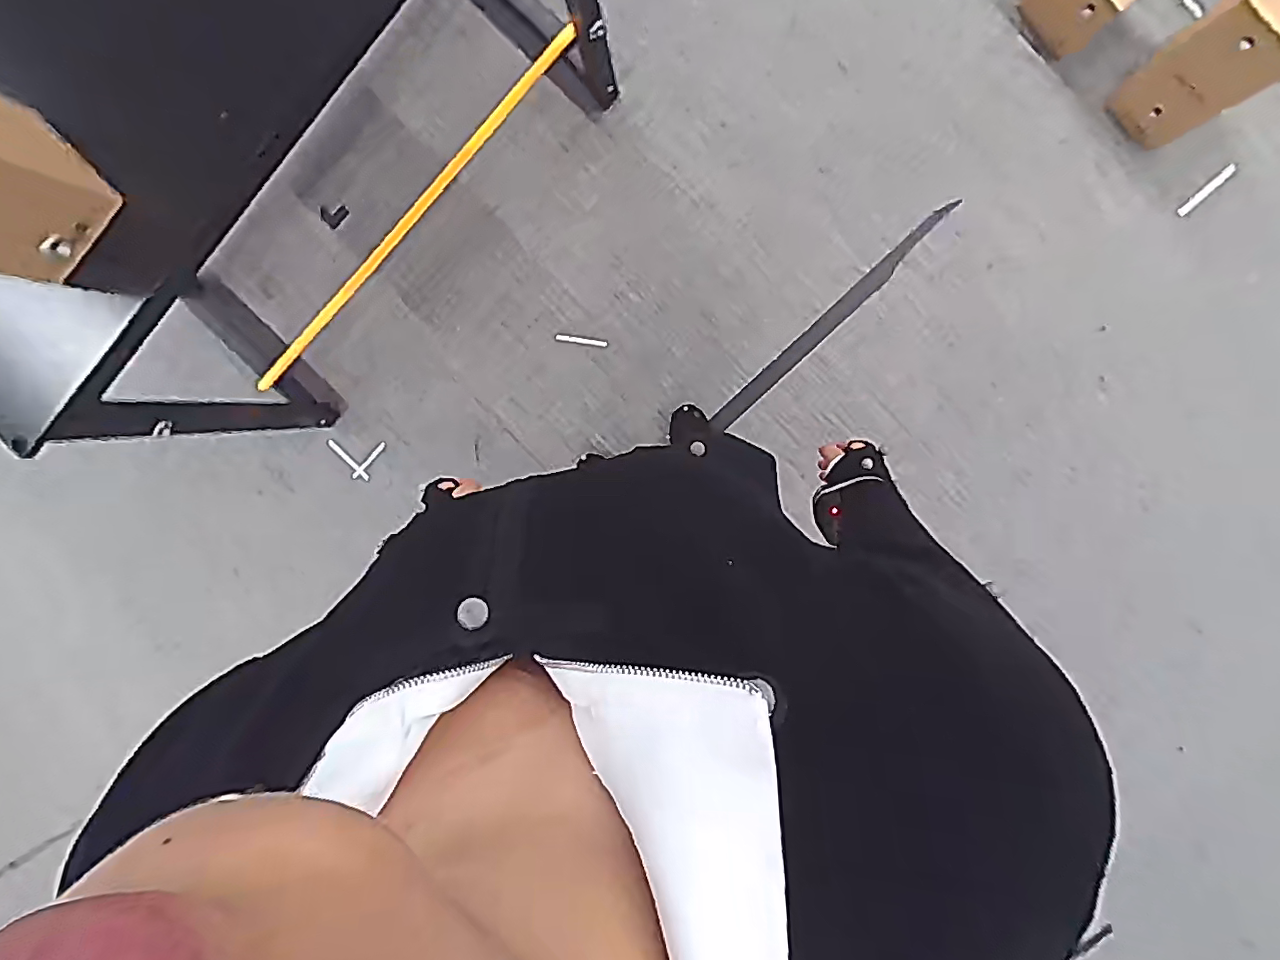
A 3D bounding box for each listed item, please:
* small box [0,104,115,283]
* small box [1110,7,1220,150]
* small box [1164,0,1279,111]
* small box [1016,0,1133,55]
[{"bbox_3d":[-0.844,-0.377,0.679,0.179,0.176,0.168,45,99,-3],"label":"small box"},{"bbox_3d":[1.201,-0.880,1.193,0.168,0.176,0.179,43,99,-2],"label":"small box"},{"bbox_3d":[1.182,-0.860,1.029,0.179,0.176,0.168,43,99,-3],"label":"small box"},{"bbox_3d":[0.985,-1.085,1.178,0.168,0.176,0.179,-43,92,8],"label":"small box"}]
